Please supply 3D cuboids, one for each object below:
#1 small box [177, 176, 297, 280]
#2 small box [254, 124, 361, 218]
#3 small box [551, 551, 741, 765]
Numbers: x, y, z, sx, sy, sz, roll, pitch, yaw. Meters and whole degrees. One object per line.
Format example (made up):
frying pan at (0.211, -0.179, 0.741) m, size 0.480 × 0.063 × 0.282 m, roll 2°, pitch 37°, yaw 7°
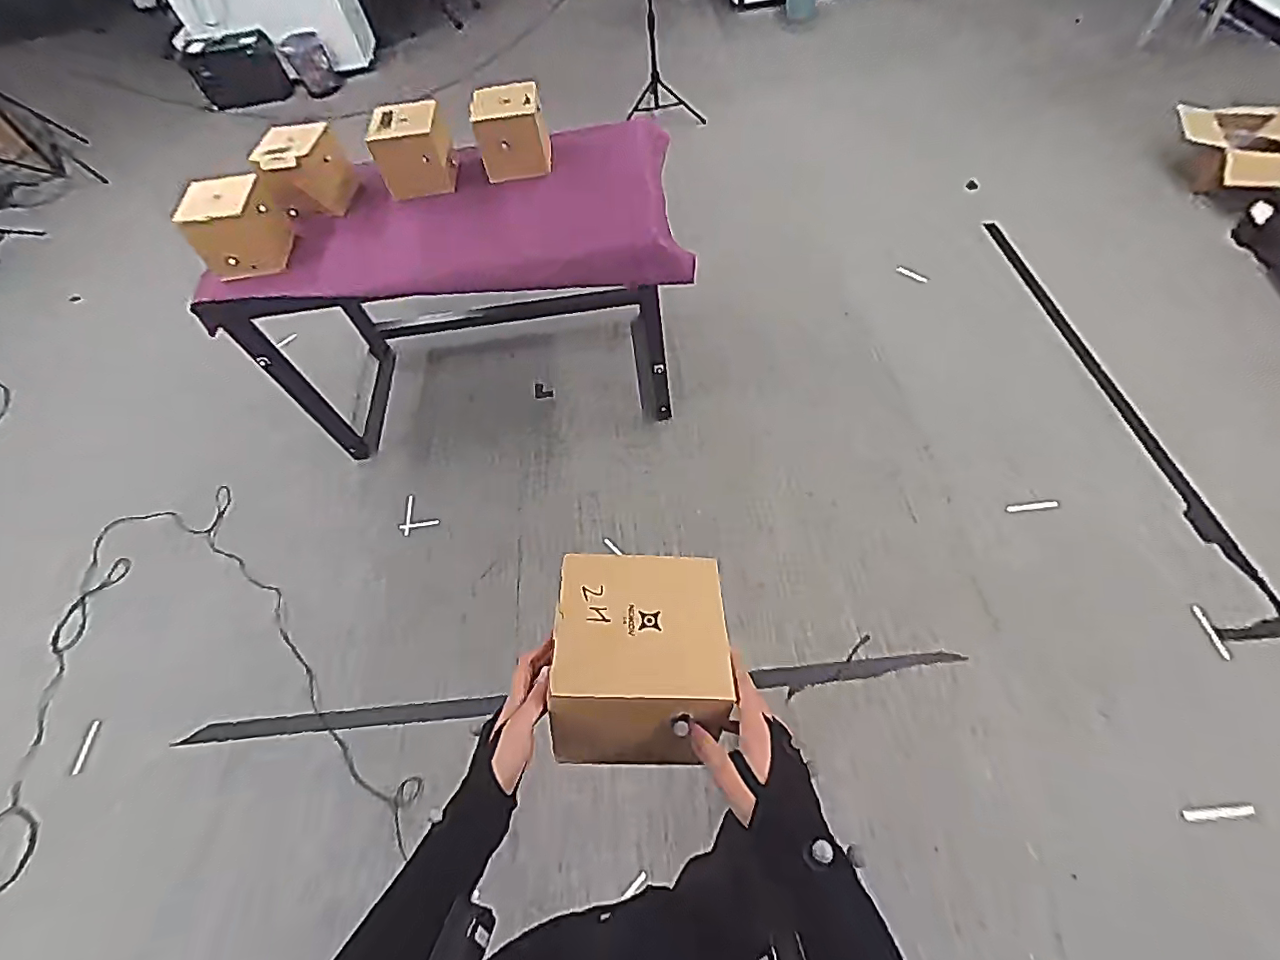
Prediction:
small box at (-1.023, -0.646, 1.392) m, size 0.168 × 0.176 × 0.179 m, roll -9°, pitch 59°, yaw -1°
small box at (-0.914, -0.855, 1.508) m, size 0.168 × 0.176 × 0.179 m, roll -2°, pitch 59°, yaw 5°
small box at (0.003, 0.199, 0.600) m, size 0.179 × 0.176 × 0.168 m, roll 2°, pitch 42°, yaw -2°
